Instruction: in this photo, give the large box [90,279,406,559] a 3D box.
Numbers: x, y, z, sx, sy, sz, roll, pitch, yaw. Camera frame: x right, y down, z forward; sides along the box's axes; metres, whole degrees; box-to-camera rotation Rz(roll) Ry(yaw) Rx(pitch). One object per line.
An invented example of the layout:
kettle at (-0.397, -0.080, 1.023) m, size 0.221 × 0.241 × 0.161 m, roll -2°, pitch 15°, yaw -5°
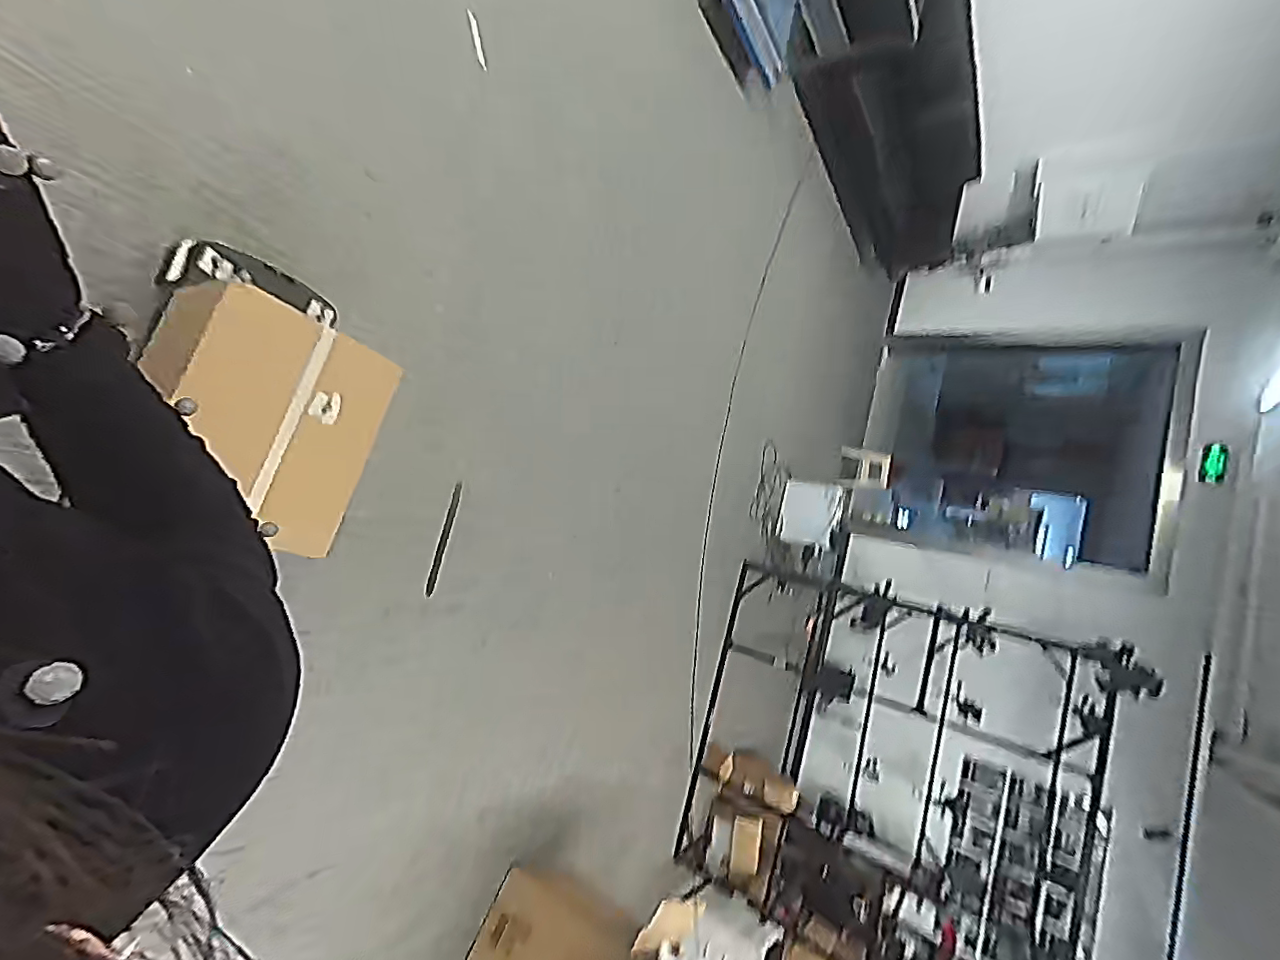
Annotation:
large box at (-0.722, -0.100, 1.016) m, size 0.320 × 0.320 × 0.408 m, roll 32°, pitch 71°, yaw -53°
